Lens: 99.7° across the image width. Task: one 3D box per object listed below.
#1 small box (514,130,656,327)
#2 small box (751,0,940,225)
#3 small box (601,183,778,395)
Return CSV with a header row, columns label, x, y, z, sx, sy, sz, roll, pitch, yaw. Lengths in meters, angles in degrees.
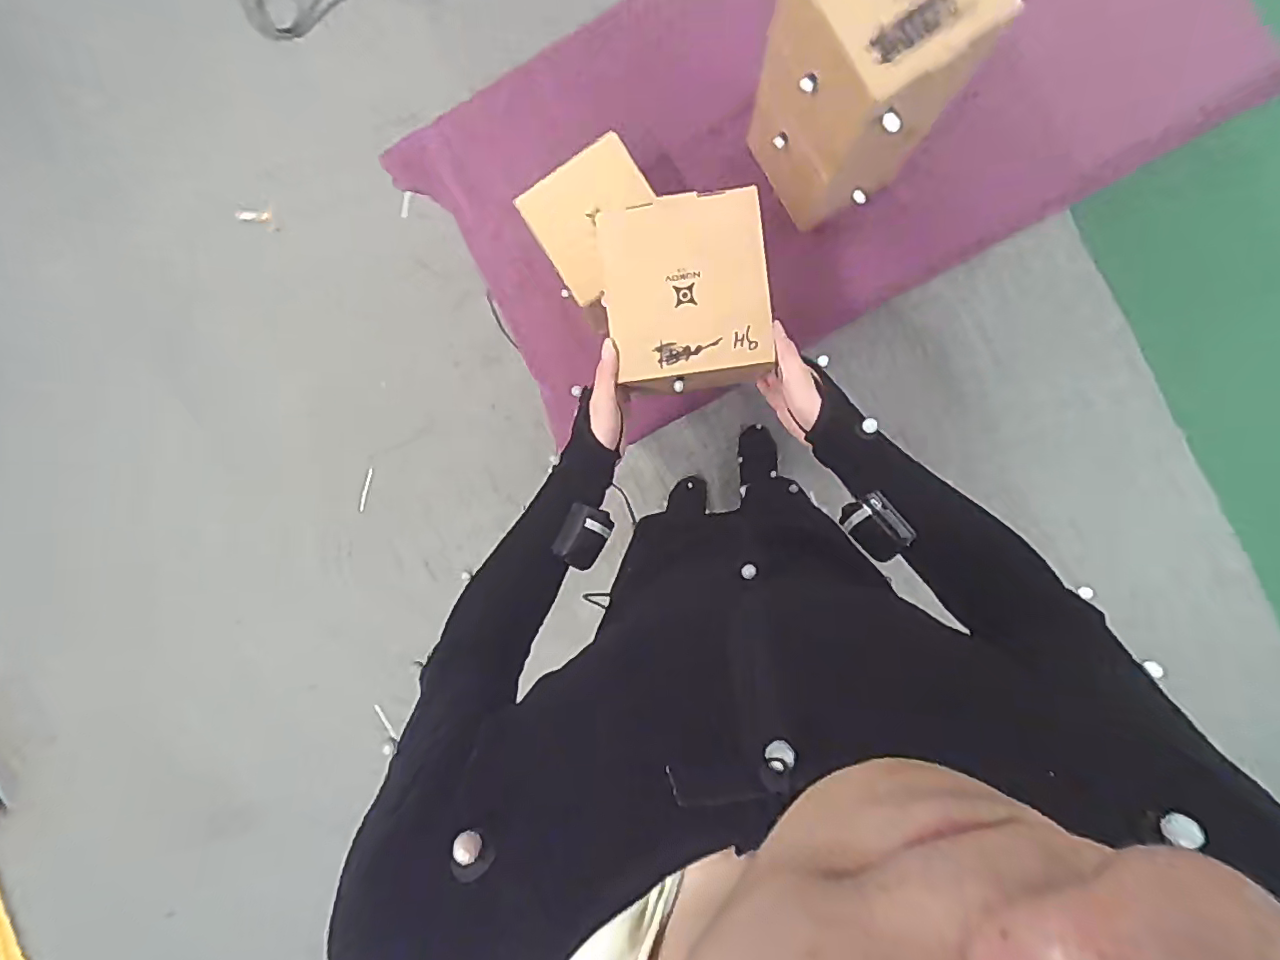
label,x,y,z,sx,sy,sz,roll,pitch,yaw
small box,-0.055,-0.357,0.805,0.168,0.176,0.179,-33,91,4
small box,0.275,-0.509,0.772,0.168,0.176,0.179,-31,90,5
small box,0.055,-0.200,0.613,0.168,0.176,0.179,-5,93,6
